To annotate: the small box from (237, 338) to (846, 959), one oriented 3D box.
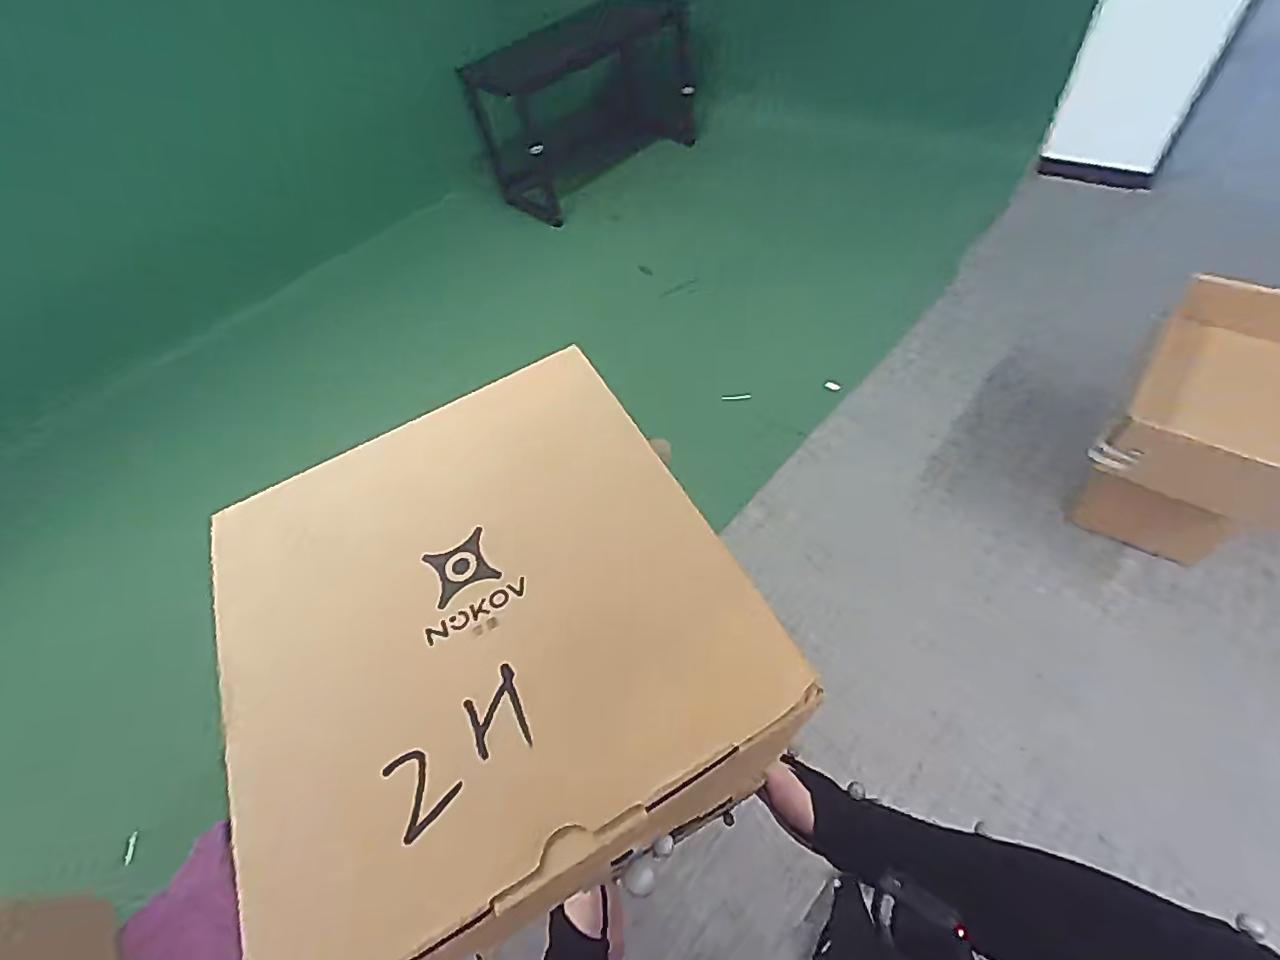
[{"bbox_3d":[-0.041,0.075,0.250,0.168,0.176,0.179,-27,58,-9],"label":"small box"}]
